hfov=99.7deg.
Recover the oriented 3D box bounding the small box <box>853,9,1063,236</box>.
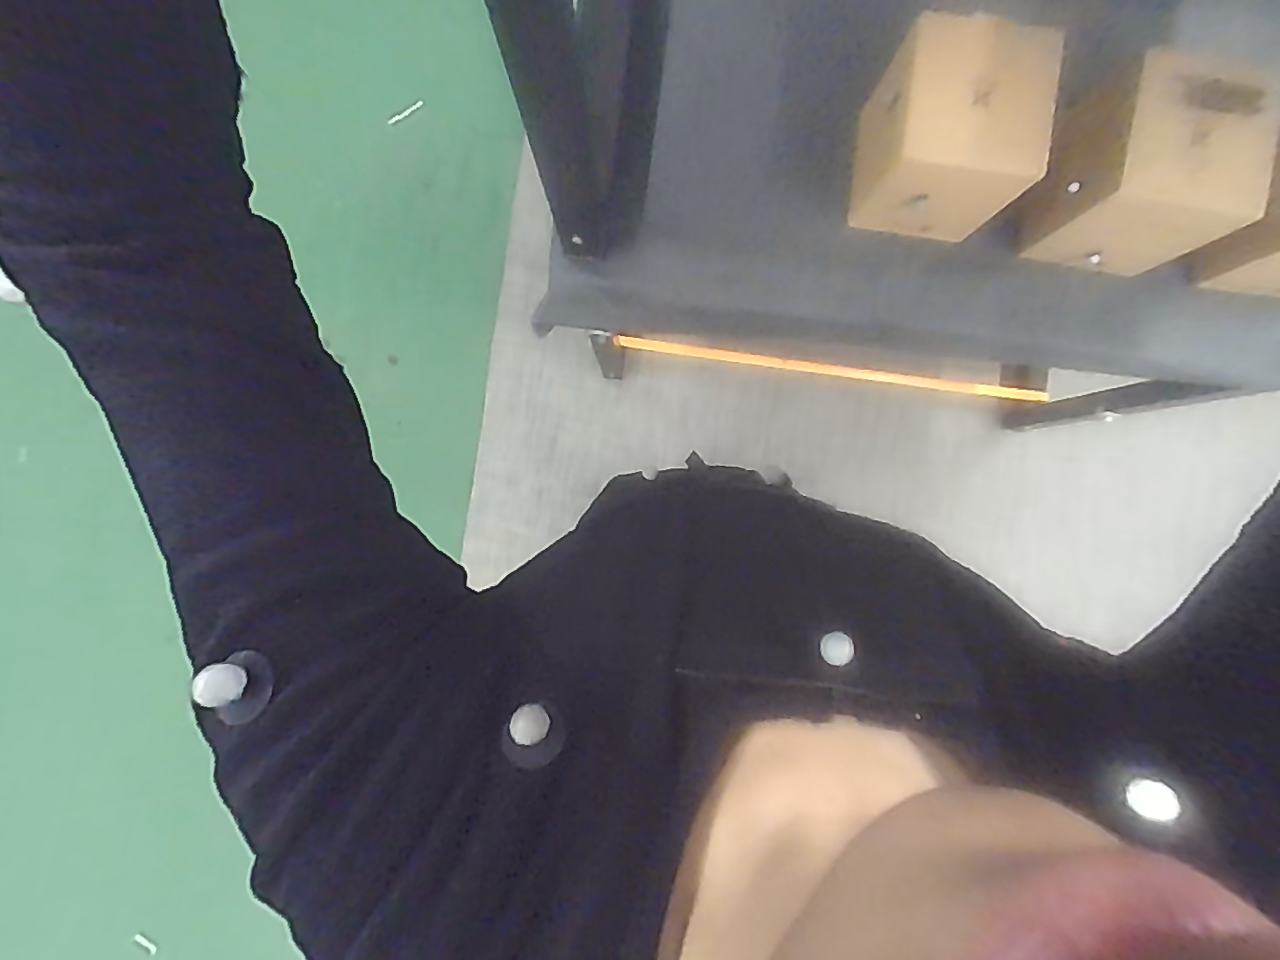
[{"bbox_3d":[0.391,-0.441,0.696,0.168,0.176,0.179,8,88,1],"label":"small box"}]

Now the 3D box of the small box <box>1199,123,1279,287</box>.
[{"bbox_3d":[0.877,-0.359,0.687,0.168,0.176,0.179,7,87,0],"label":"small box"}]
